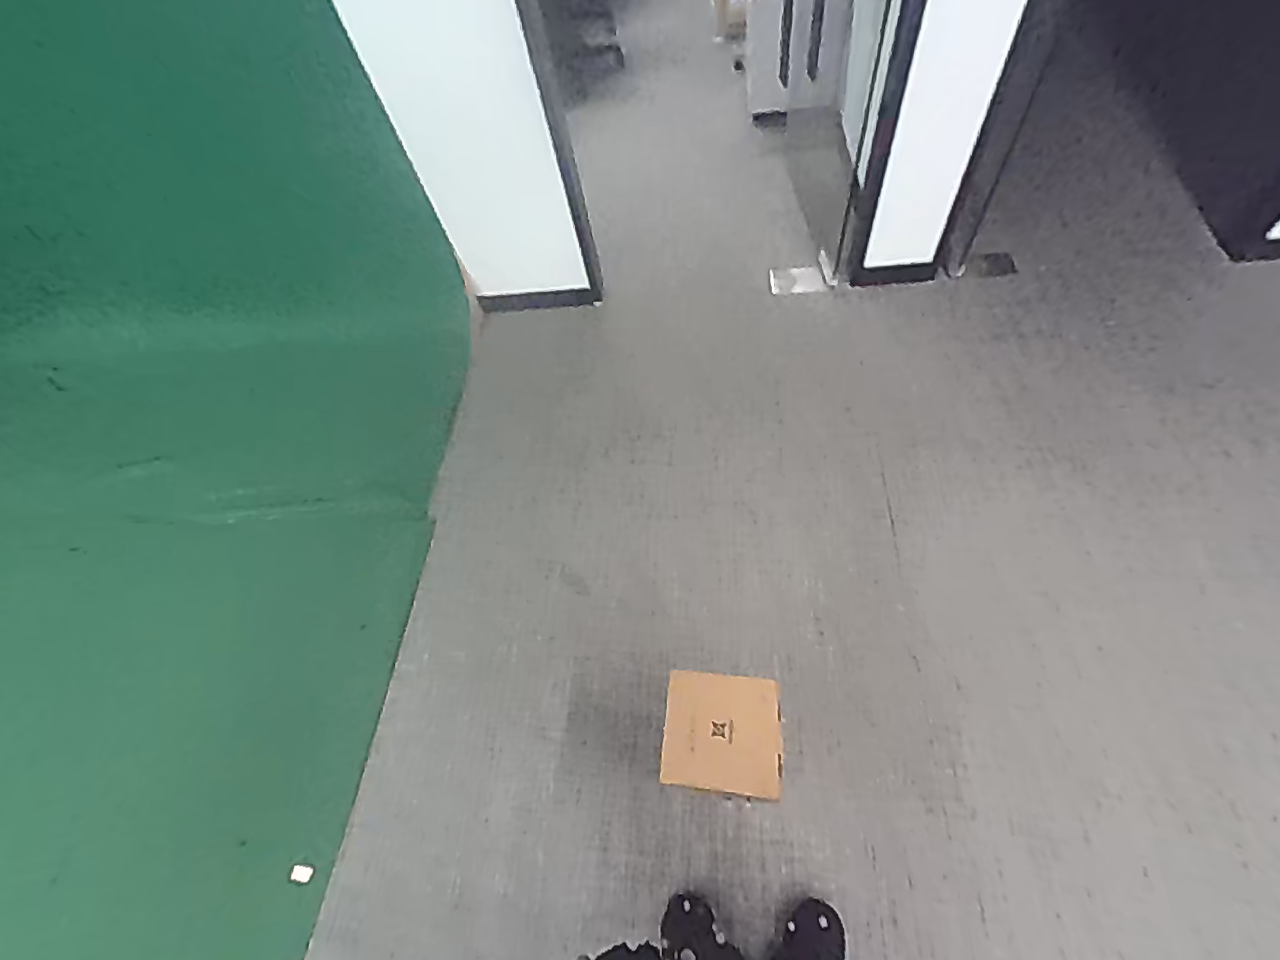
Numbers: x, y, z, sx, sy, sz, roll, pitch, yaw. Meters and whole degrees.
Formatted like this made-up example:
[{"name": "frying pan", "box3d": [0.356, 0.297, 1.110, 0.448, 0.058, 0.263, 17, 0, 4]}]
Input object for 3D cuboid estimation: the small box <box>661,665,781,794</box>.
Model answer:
[{"name": "small box", "box3d": [0.139, 0.417, 0.897, 0.179, 0.176, 0.168, 1, 58, 12]}]
